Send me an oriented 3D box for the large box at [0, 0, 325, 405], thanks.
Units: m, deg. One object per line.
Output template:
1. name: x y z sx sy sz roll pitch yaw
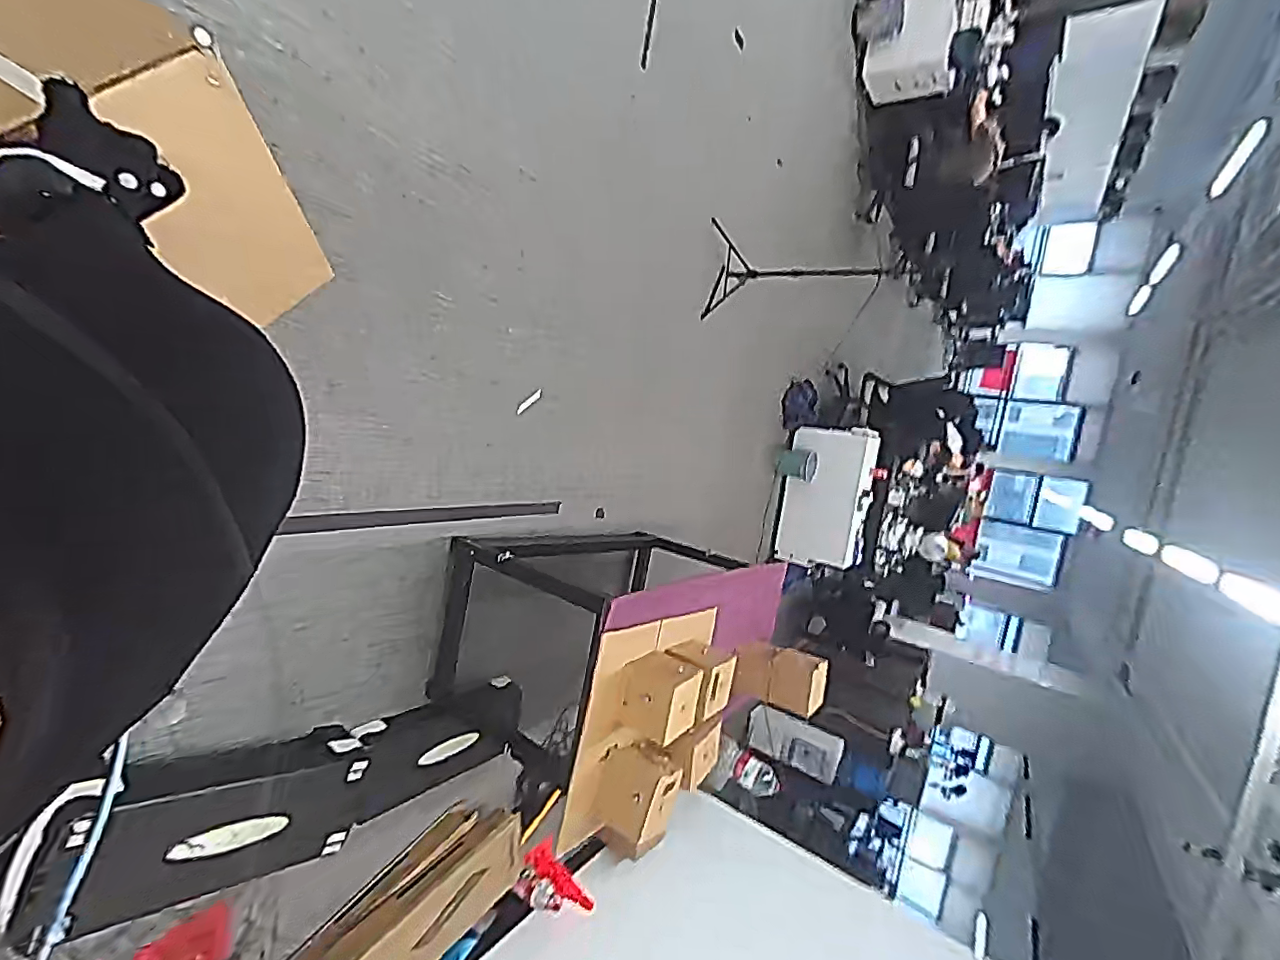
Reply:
1. large box: -0.703 -0.368 0.661 0.320 0.408 0.320 -53 171 -25
